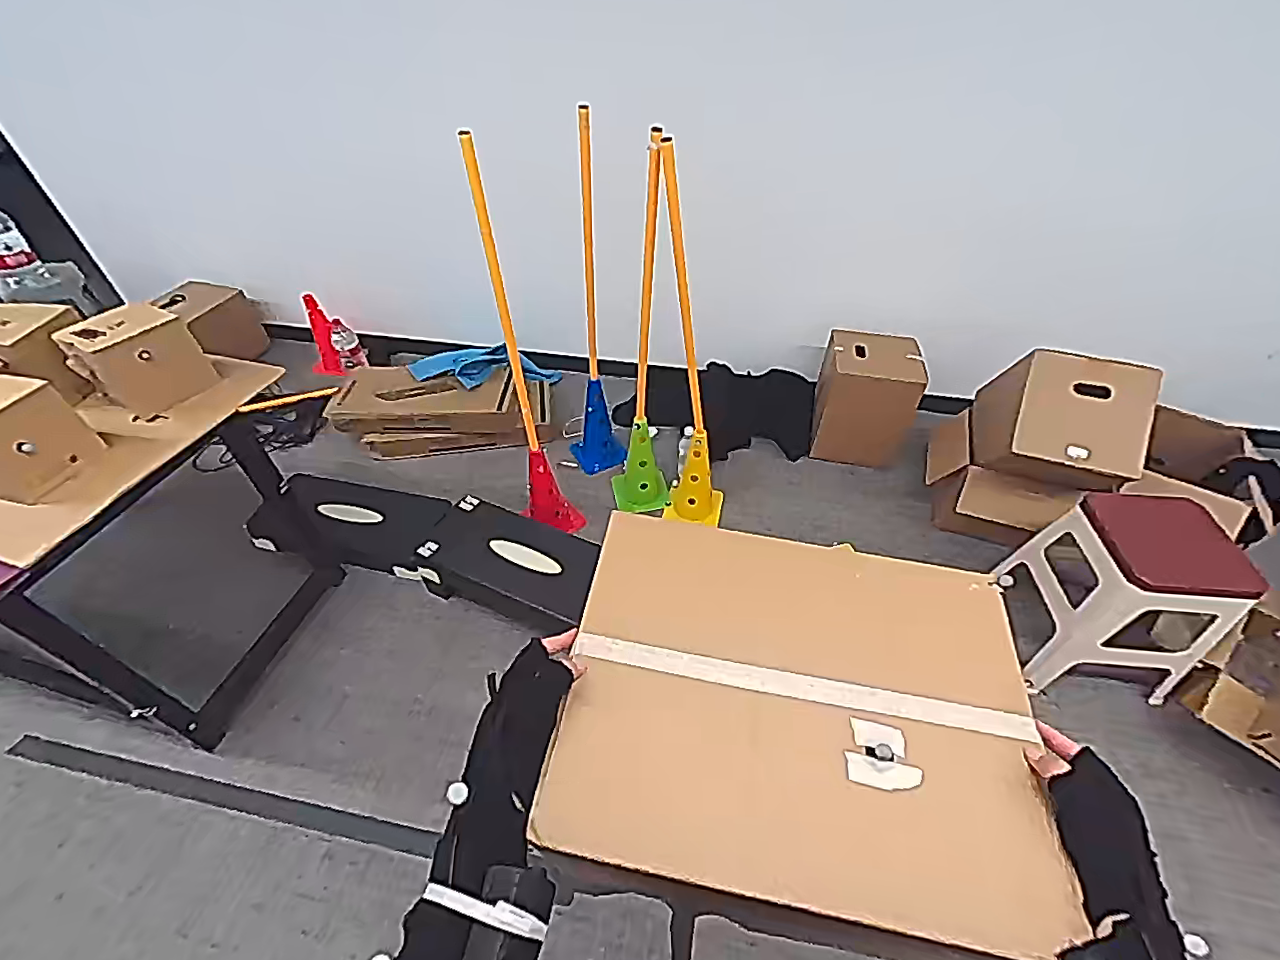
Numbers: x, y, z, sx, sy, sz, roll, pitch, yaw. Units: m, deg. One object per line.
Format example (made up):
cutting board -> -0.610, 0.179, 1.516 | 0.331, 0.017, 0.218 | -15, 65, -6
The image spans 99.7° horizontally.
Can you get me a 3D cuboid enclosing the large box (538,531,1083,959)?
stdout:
large box -> 0.135, 0.294, 0.599 | 0.408, 0.320, 0.320 | 10, 51, 6
